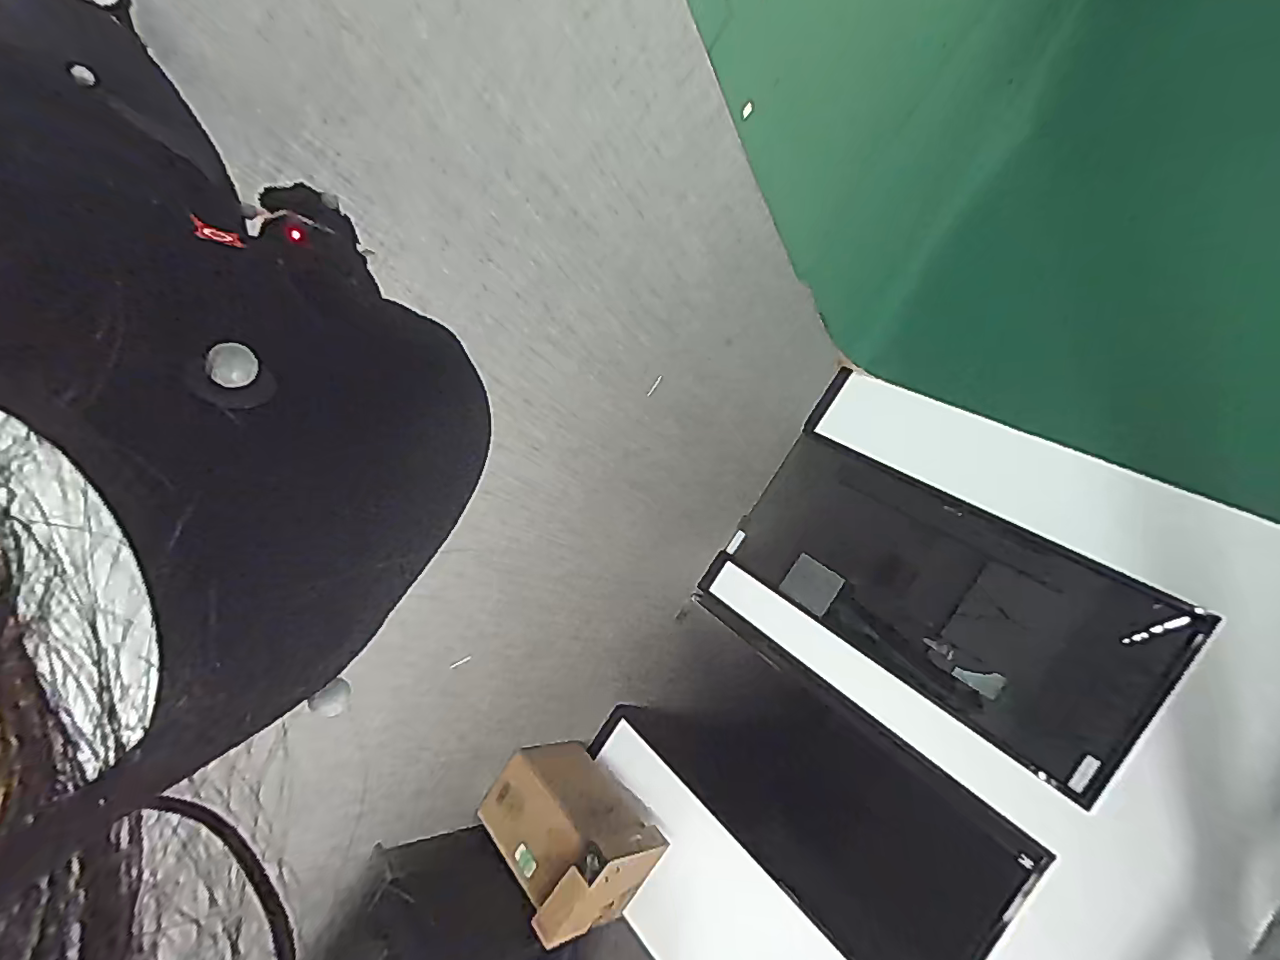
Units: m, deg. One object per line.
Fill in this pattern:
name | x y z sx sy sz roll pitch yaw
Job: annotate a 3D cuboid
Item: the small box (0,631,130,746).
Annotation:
small box | -1.326 0.474 1.243 0.179 0.176 0.168 -57 145 2
